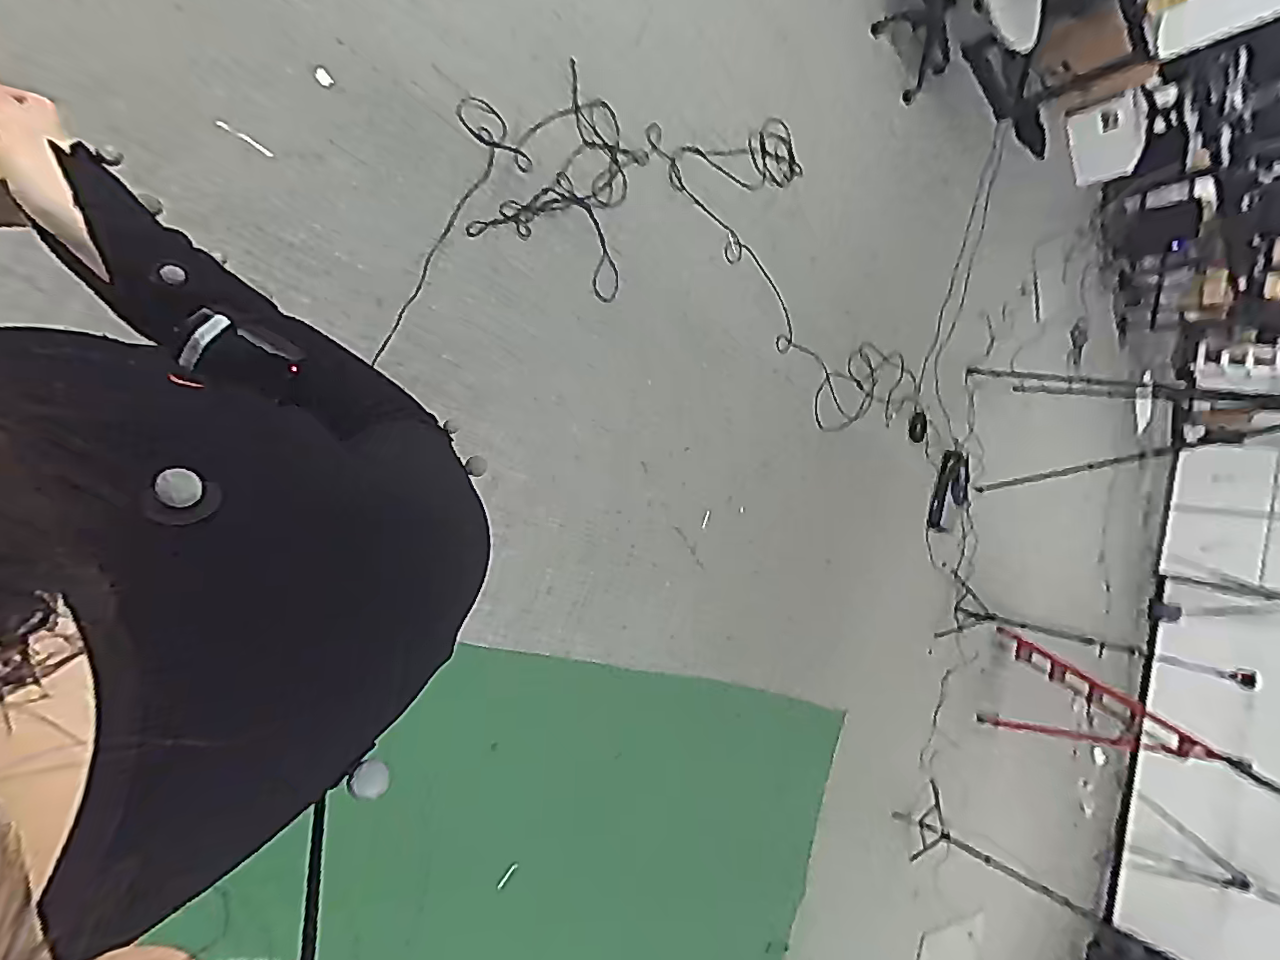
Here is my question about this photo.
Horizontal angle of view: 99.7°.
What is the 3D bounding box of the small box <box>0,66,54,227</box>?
[{"bbox_3d":[-0.482,-0.246,0.301,0.168,0.176,0.179,-20,113,-36],"label":"small box"}]
